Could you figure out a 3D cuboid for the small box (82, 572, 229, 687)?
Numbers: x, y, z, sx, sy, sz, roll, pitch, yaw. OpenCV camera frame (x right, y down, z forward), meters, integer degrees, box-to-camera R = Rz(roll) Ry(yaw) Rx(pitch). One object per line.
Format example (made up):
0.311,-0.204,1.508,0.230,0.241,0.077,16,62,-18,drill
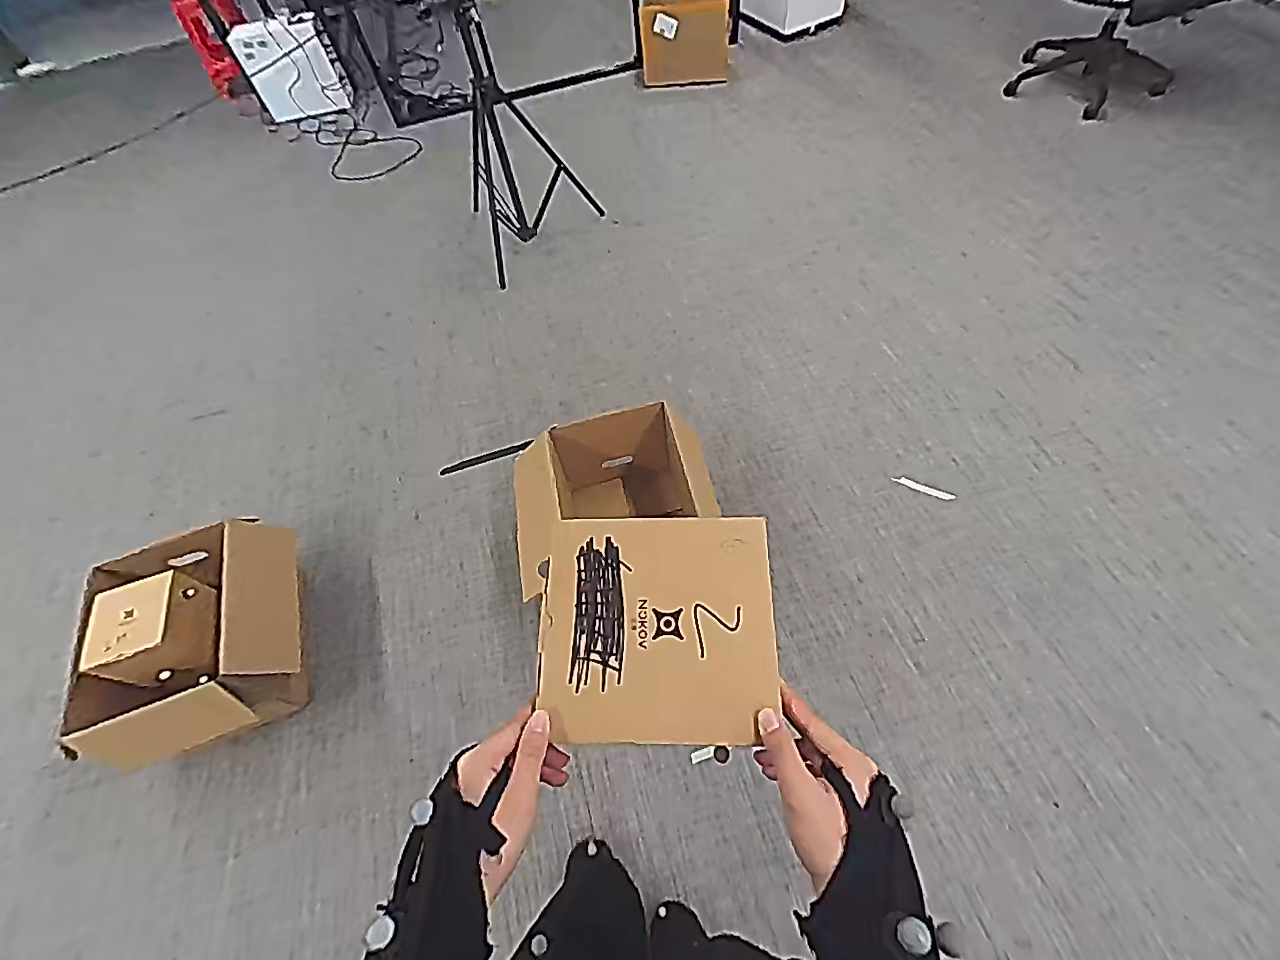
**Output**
-1.061,0.337,1.203,0.168,0.176,0.179,-19,58,-5,small box
